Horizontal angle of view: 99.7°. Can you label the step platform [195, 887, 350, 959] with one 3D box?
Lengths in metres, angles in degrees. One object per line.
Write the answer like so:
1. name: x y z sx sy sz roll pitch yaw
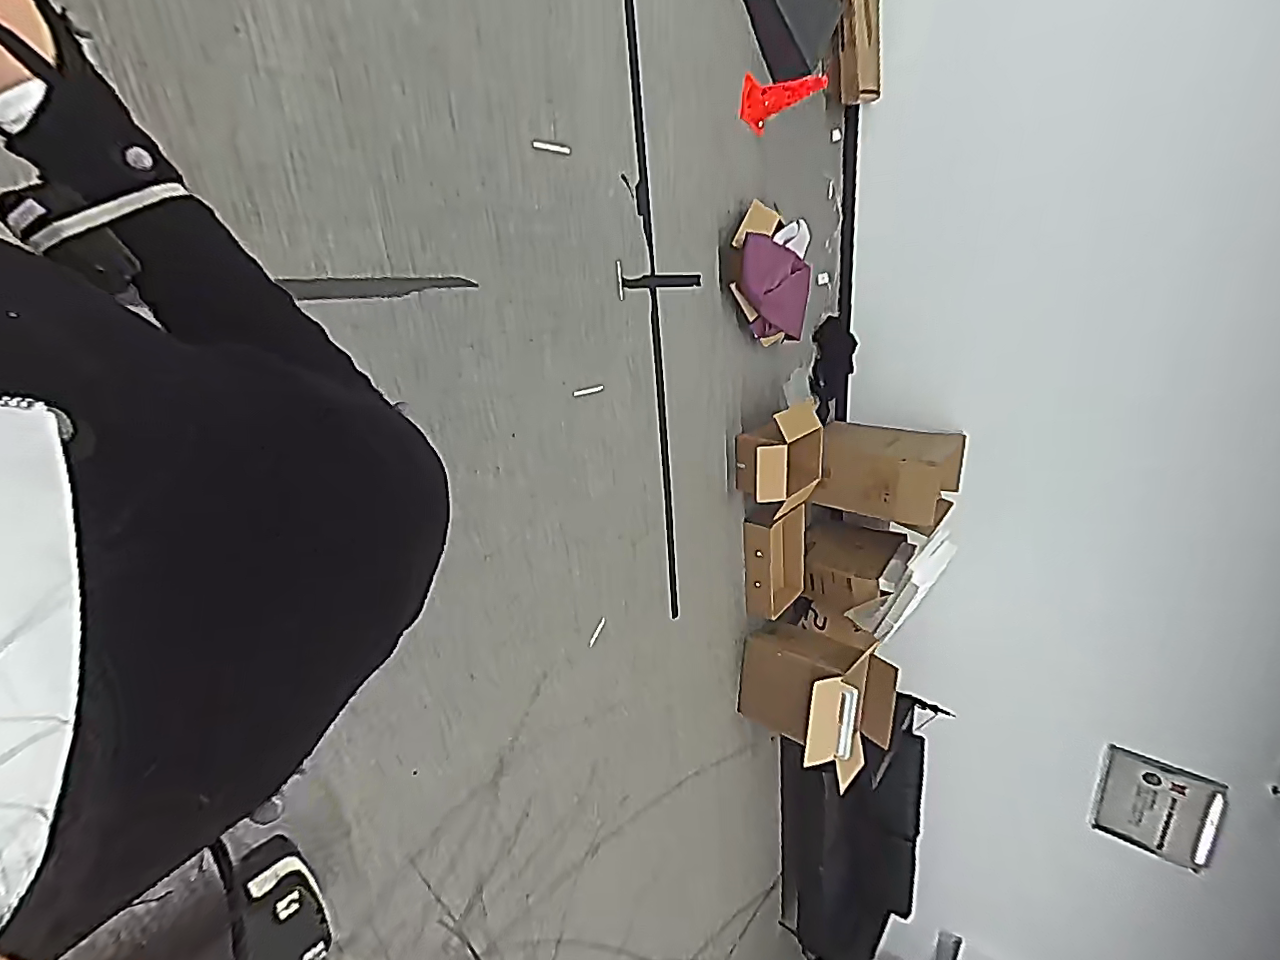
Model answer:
1. step platform: -0.951 1.199 1.065 0.684 0.204 0.286 -26 118 -43
